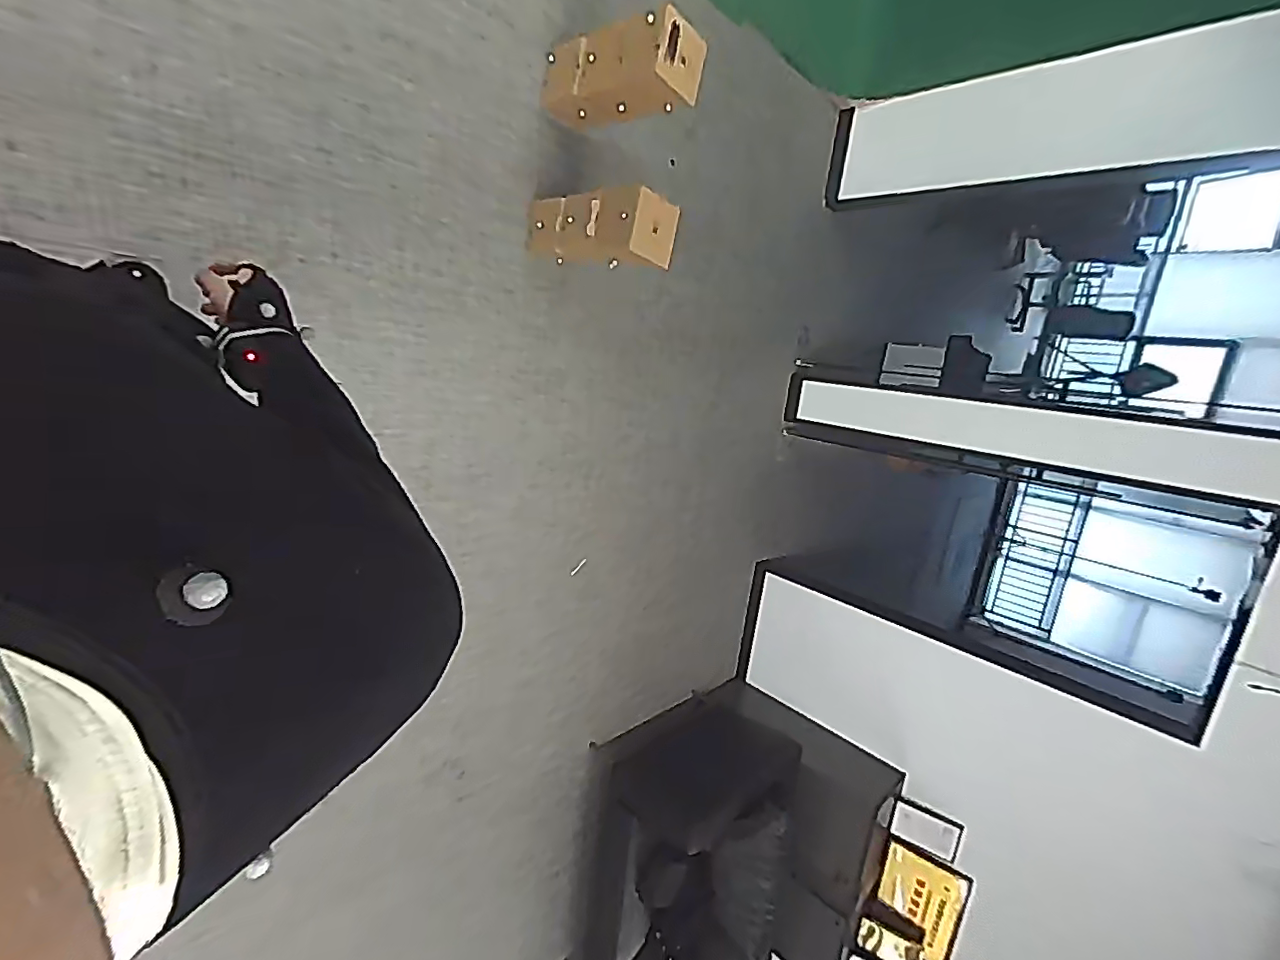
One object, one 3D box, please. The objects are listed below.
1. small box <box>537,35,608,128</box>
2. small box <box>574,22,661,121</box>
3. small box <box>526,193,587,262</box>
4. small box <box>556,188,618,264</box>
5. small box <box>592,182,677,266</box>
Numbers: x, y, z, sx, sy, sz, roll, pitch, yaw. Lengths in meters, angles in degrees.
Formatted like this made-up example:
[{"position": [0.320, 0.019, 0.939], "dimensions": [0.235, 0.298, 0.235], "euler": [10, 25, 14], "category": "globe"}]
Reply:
[{"position": [-0.204, -1.258, 1.726], "dimensions": [0.179, 0.176, 0.168], "euler": [2, 103, -48], "category": "small box"}, {"position": [-0.068, -1.210, 1.619], "dimensions": [0.179, 0.176, 0.168], "euler": [3, 103, -47], "category": "small box"}, {"position": [-0.258, -0.830, 1.800], "dimensions": [0.179, 0.176, 0.168], "euler": [-1, 105, -46], "category": "small box"}, {"position": [-0.134, -0.791, 1.698], "dimensions": [0.179, 0.176, 0.168], "euler": [5, 100, -48], "category": "small box"}, {"position": [-0.021, -0.744, 1.590], "dimensions": [0.168, 0.176, 0.179], "euler": [4, 101, -47], "category": "small box"}]
